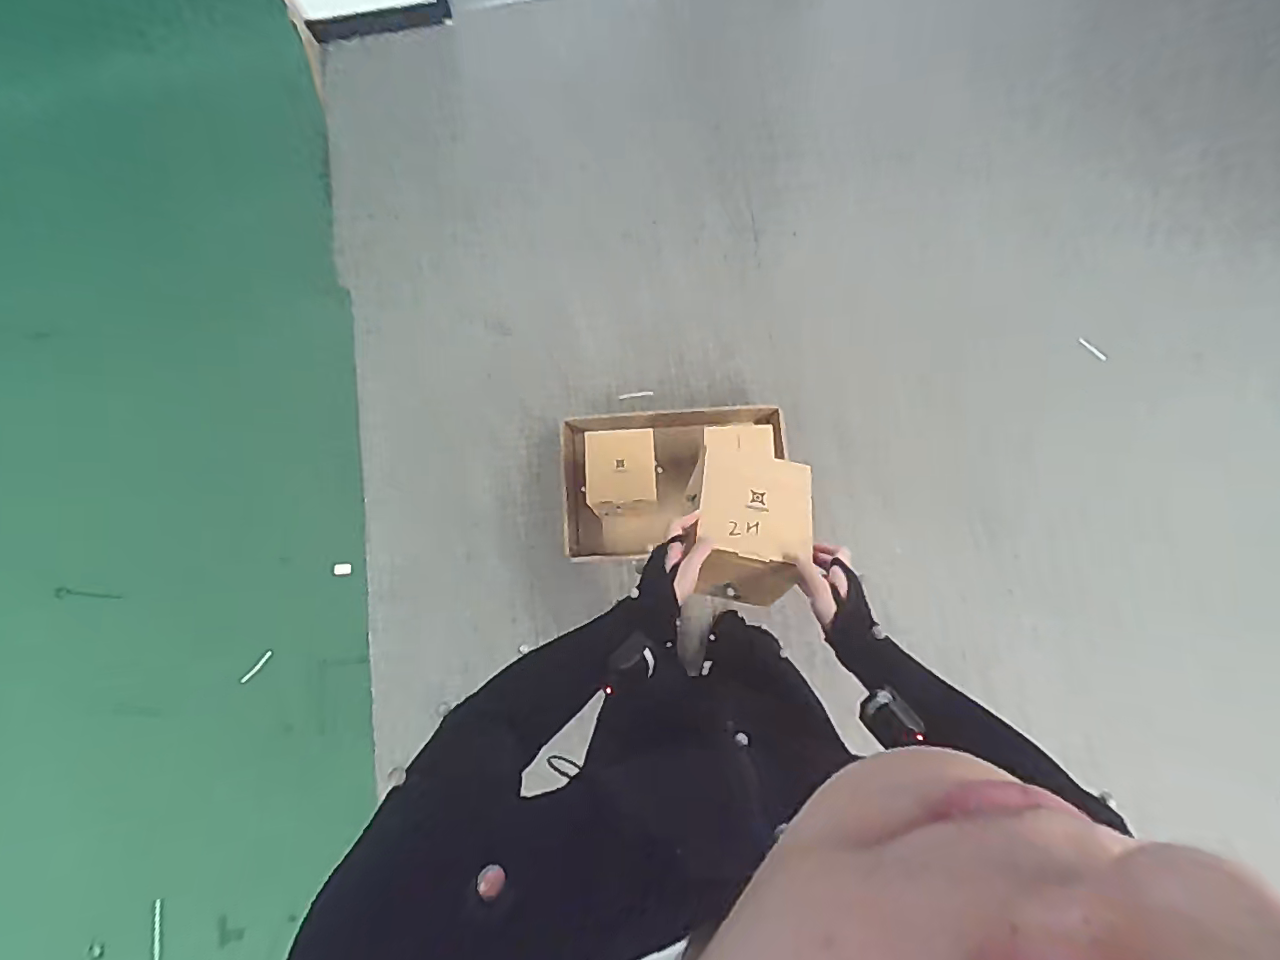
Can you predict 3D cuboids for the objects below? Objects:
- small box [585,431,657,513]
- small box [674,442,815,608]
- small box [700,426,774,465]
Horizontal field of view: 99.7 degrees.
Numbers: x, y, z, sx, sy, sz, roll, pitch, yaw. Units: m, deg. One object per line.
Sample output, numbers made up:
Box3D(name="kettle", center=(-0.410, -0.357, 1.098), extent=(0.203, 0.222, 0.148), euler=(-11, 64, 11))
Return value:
Box3D(name="small box", center=(-0.047, -0.015, 1.342), extent=(0.168, 0.176, 0.179), euler=(-3, 81, 0))
Box3D(name="small box", center=(0.153, 0.072, 0.823), extent=(0.168, 0.176, 0.179), euler=(12, 57, -2))
Box3D(name="small box", center=(0.236, -0.026, 1.335), extent=(0.168, 0.176, 0.179), euler=(-2, 80, 2))
